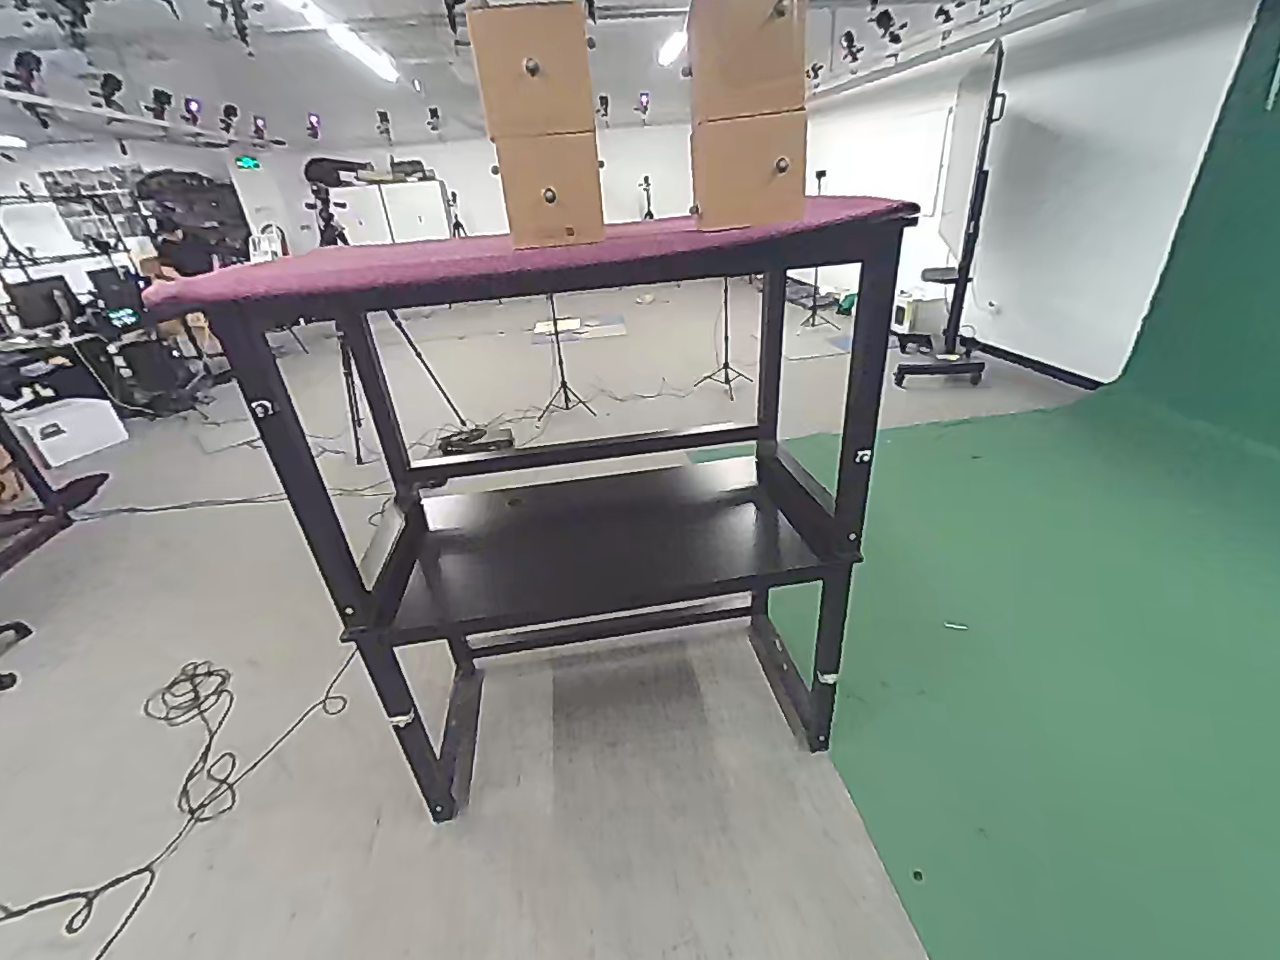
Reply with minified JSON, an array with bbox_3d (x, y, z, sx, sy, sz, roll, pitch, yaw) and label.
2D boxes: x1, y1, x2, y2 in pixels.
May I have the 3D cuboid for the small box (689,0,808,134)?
[{"bbox_3d":[0.180,-0.693,0.923,0.179,0.176,0.168,-4,25,2],"label":"small box"}]

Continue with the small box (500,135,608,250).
[{"bbox_3d":[-0.151,-0.520,0.991,0.168,0.176,0.179,-6,27,-5],"label":"small box"}]

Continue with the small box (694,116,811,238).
[{"bbox_3d":[0.198,-0.545,0.987,0.179,0.176,0.168,-7,25,0],"label":"small box"}]
